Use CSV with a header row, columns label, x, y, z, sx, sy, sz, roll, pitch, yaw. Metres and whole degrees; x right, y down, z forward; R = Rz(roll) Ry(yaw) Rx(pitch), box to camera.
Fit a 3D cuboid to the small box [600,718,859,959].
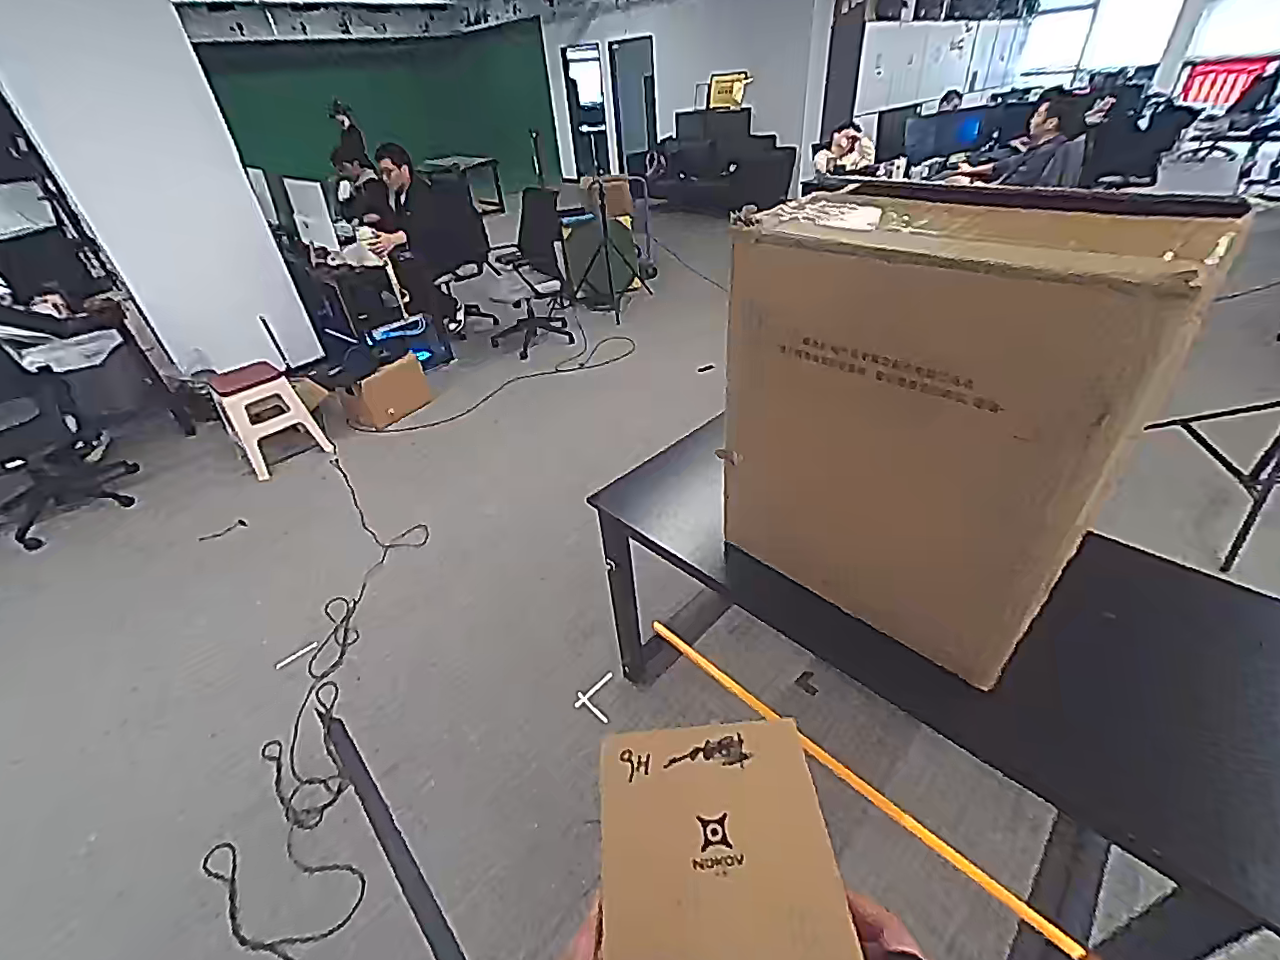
label,x,y,z,sx,sy,sz,roll,pitch,yaw
small box,0.059,0.322,0.441,0.168,0.176,0.179,-6,42,-1
